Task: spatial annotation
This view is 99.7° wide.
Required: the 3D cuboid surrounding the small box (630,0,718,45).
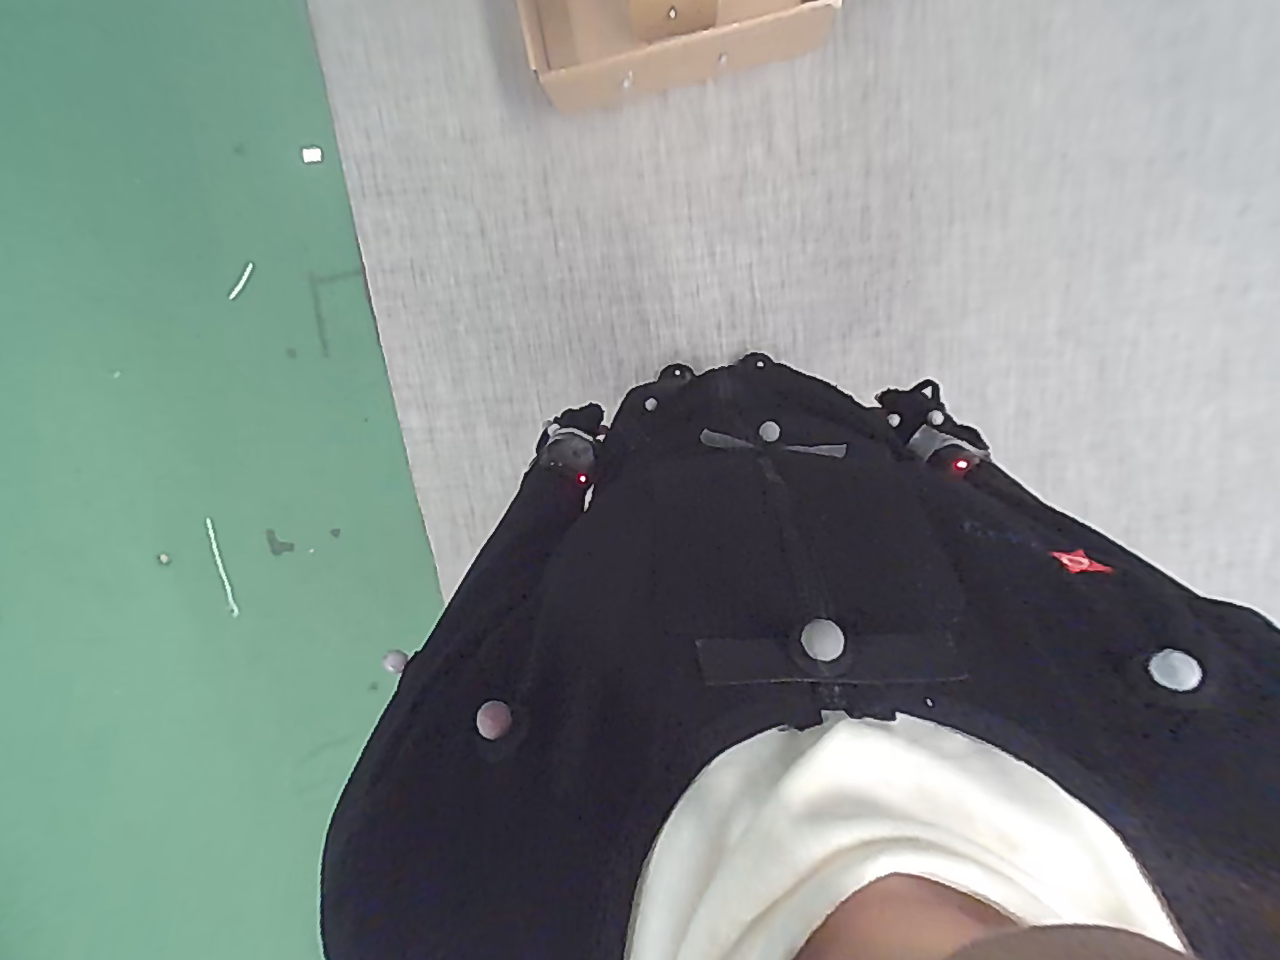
[{"bbox_3d":[0.061,-1.015,1.071,0.179,0.176,0.168,-10,102,7],"label":"small box"}]
